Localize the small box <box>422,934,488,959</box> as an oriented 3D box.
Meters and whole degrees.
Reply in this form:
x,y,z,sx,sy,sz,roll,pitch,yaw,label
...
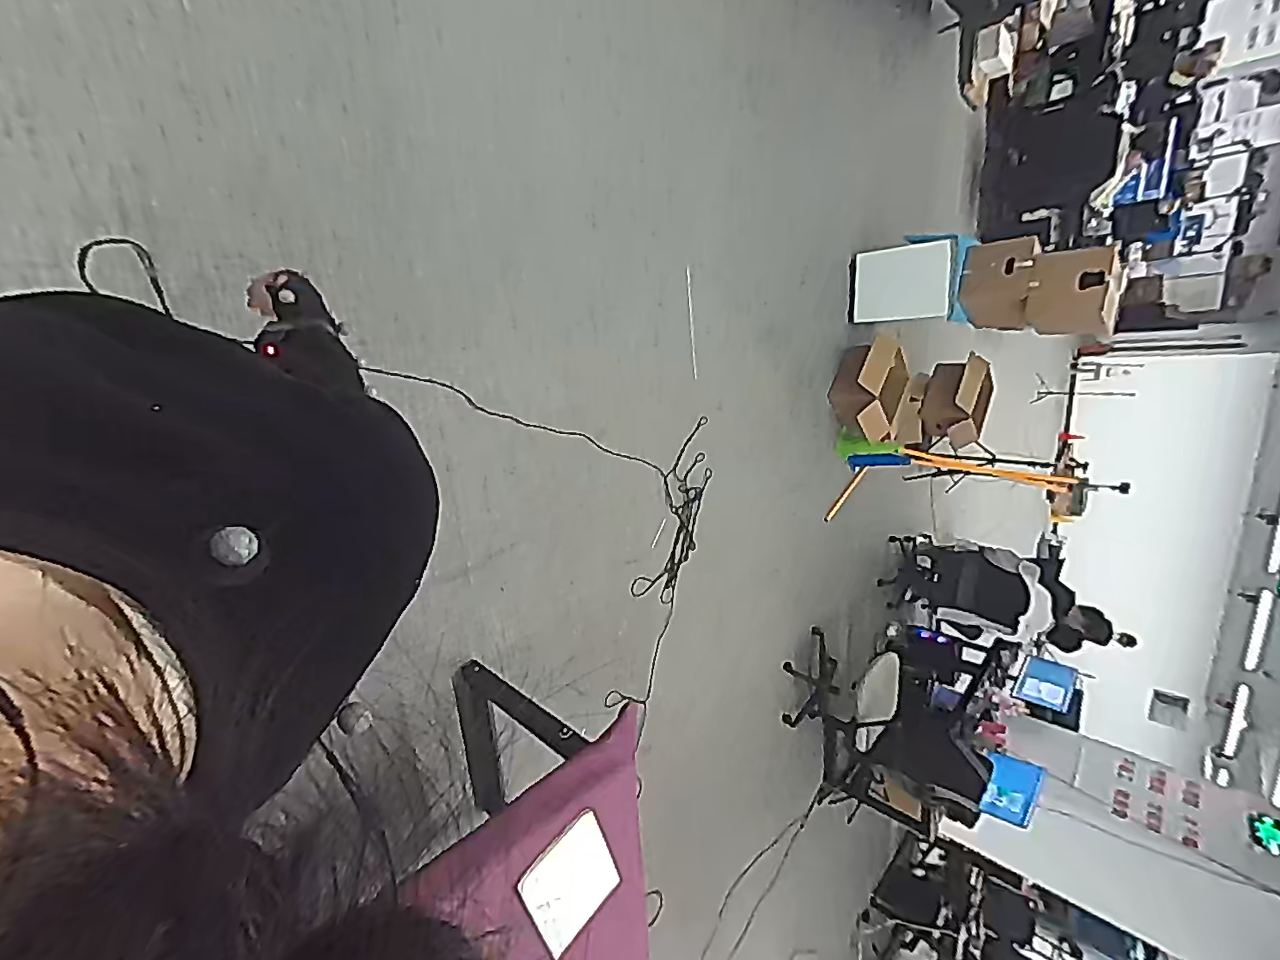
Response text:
x,y,z,sx,sy,sz,roll,pitch,yaw,label
-0.324,0.926,0.909,0.168,0.176,0.179,-16,108,-43,small box
